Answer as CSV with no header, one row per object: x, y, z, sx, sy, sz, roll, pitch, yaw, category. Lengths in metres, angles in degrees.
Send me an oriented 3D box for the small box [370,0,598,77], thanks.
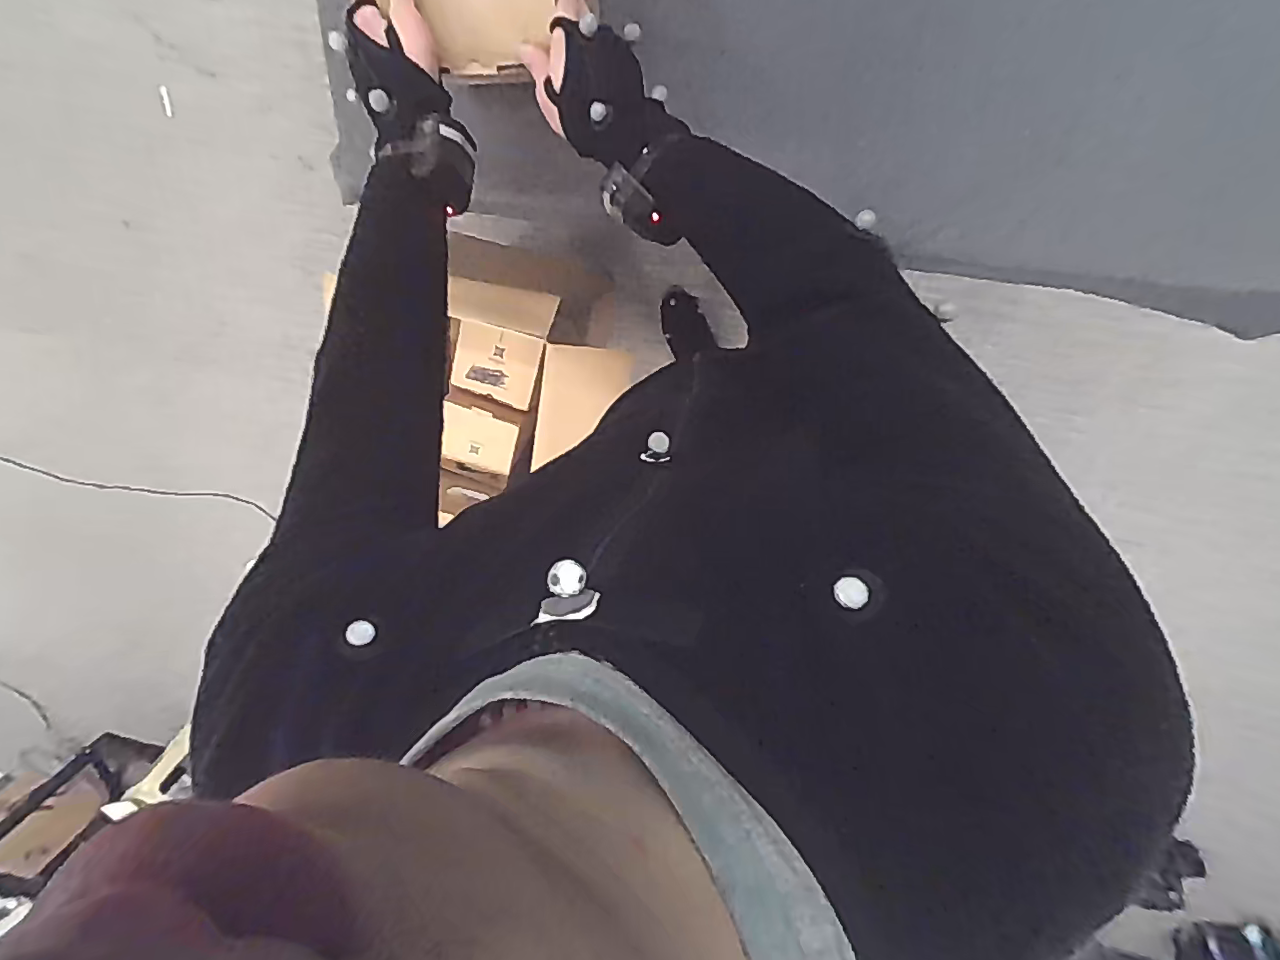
-0.140,-0.486,0.500,0.168,0.176,0.179,3,123,9,small box
